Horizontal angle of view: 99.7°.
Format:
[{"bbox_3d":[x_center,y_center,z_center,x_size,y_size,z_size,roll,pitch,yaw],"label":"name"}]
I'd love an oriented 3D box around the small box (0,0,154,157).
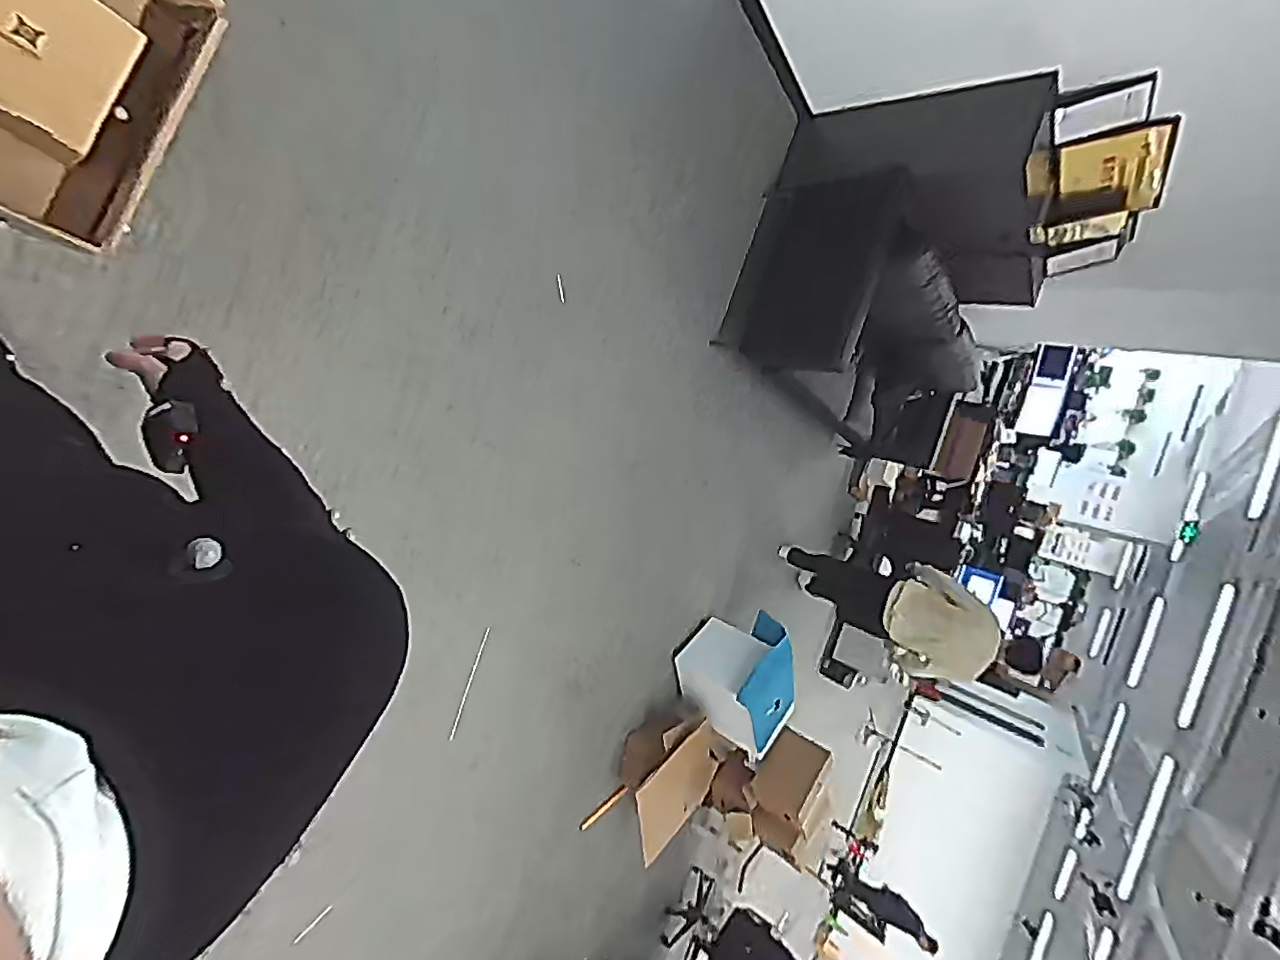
[{"bbox_3d":[-0.761,-0.541,0.674,0.168,0.176,0.179,28,85,-51],"label":"small box"}]
